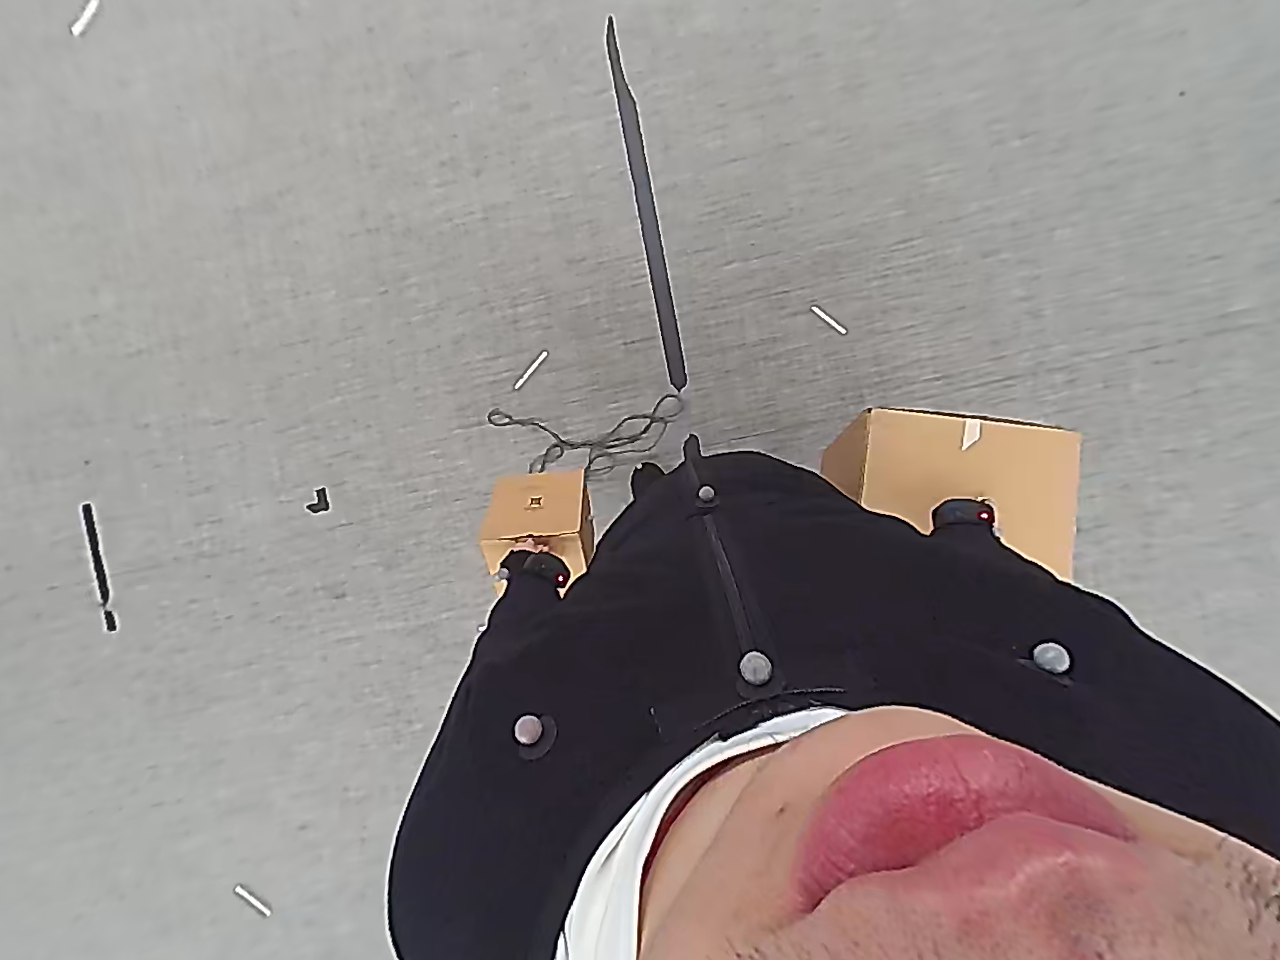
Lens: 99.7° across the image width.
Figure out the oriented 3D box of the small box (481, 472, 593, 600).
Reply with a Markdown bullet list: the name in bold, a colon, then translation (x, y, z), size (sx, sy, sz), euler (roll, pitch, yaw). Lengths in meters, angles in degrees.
- **small box**: translation (-0.177, 0.107, 0.995), size (0.168, 0.179, 0.176), euler (-4, 128, 0)
